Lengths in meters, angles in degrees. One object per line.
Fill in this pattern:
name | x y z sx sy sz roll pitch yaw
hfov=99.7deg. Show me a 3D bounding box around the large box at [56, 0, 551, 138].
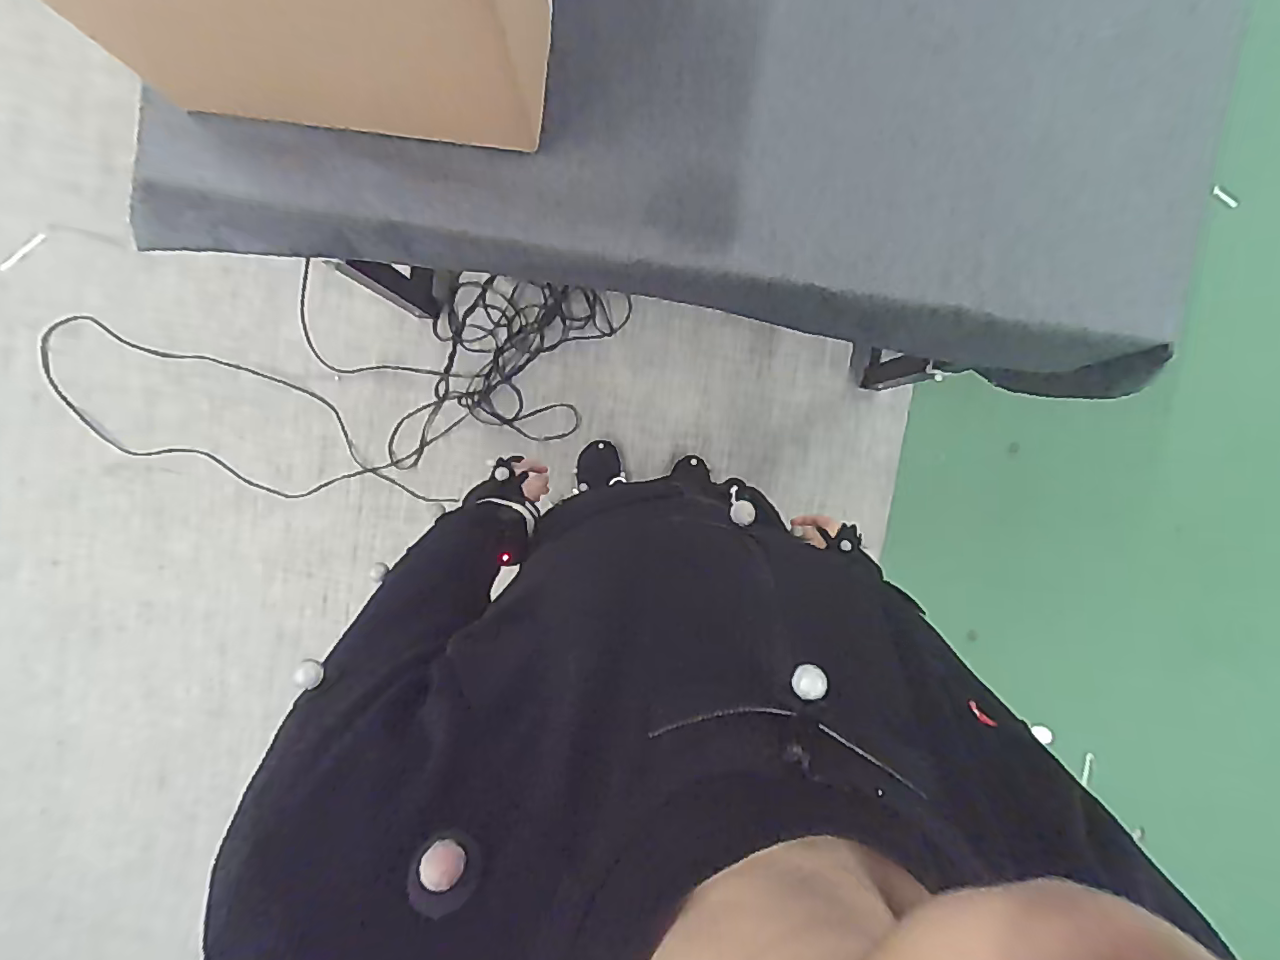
large box | -0.289 -0.539 0.443 0.408 0.320 0.320 5 93 -3
